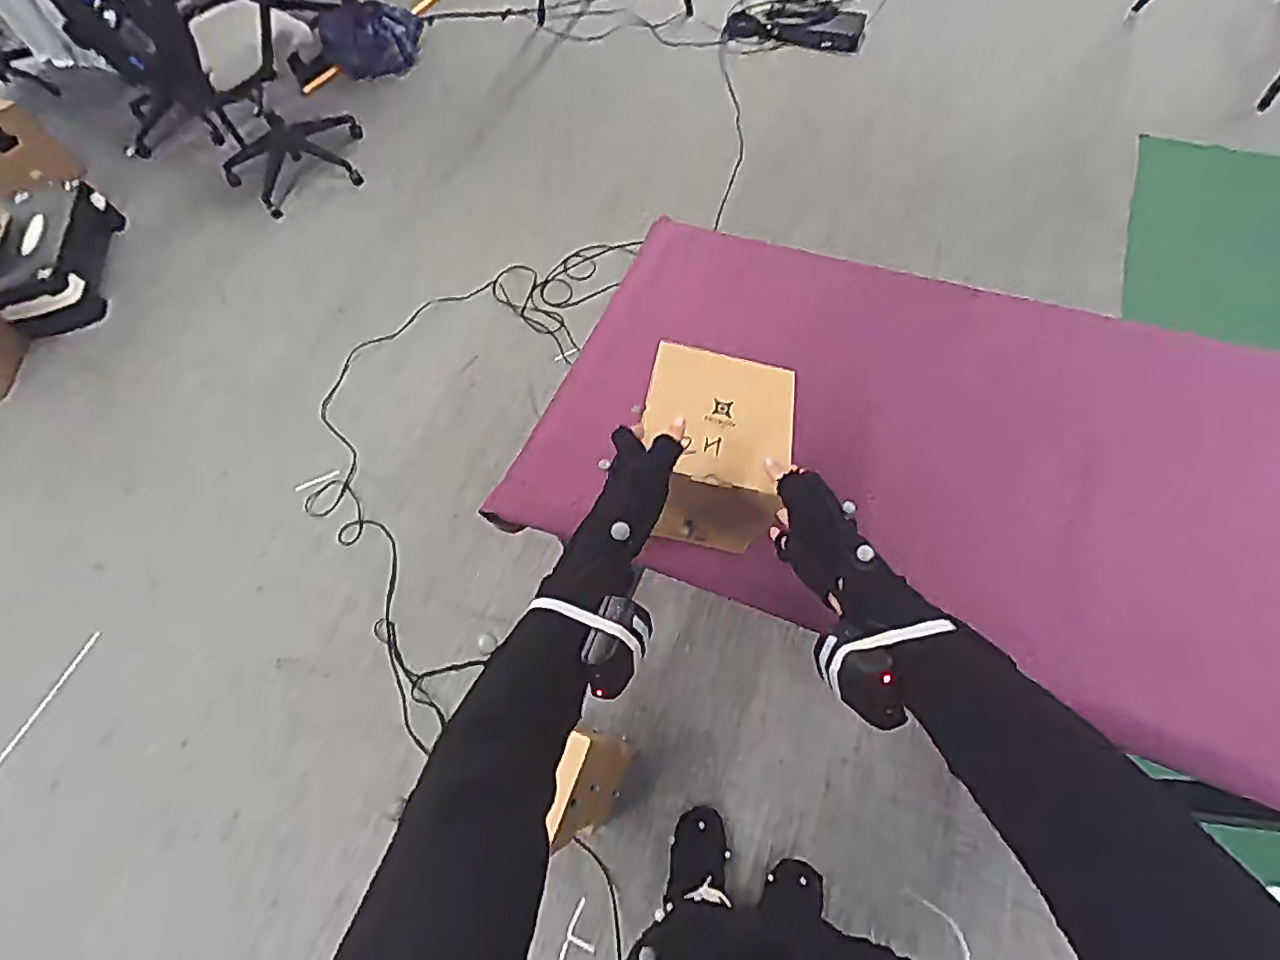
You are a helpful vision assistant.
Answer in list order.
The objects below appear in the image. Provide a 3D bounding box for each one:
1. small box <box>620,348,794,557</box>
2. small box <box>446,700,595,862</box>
[{"bbox_3d":[0.077,-0.027,0.671,0.168,0.176,0.179,14,61,-2],"label":"small box"},{"bbox_3d":[-0.186,0.494,0.910,0.168,0.176,0.179,19,68,14],"label":"small box"}]
